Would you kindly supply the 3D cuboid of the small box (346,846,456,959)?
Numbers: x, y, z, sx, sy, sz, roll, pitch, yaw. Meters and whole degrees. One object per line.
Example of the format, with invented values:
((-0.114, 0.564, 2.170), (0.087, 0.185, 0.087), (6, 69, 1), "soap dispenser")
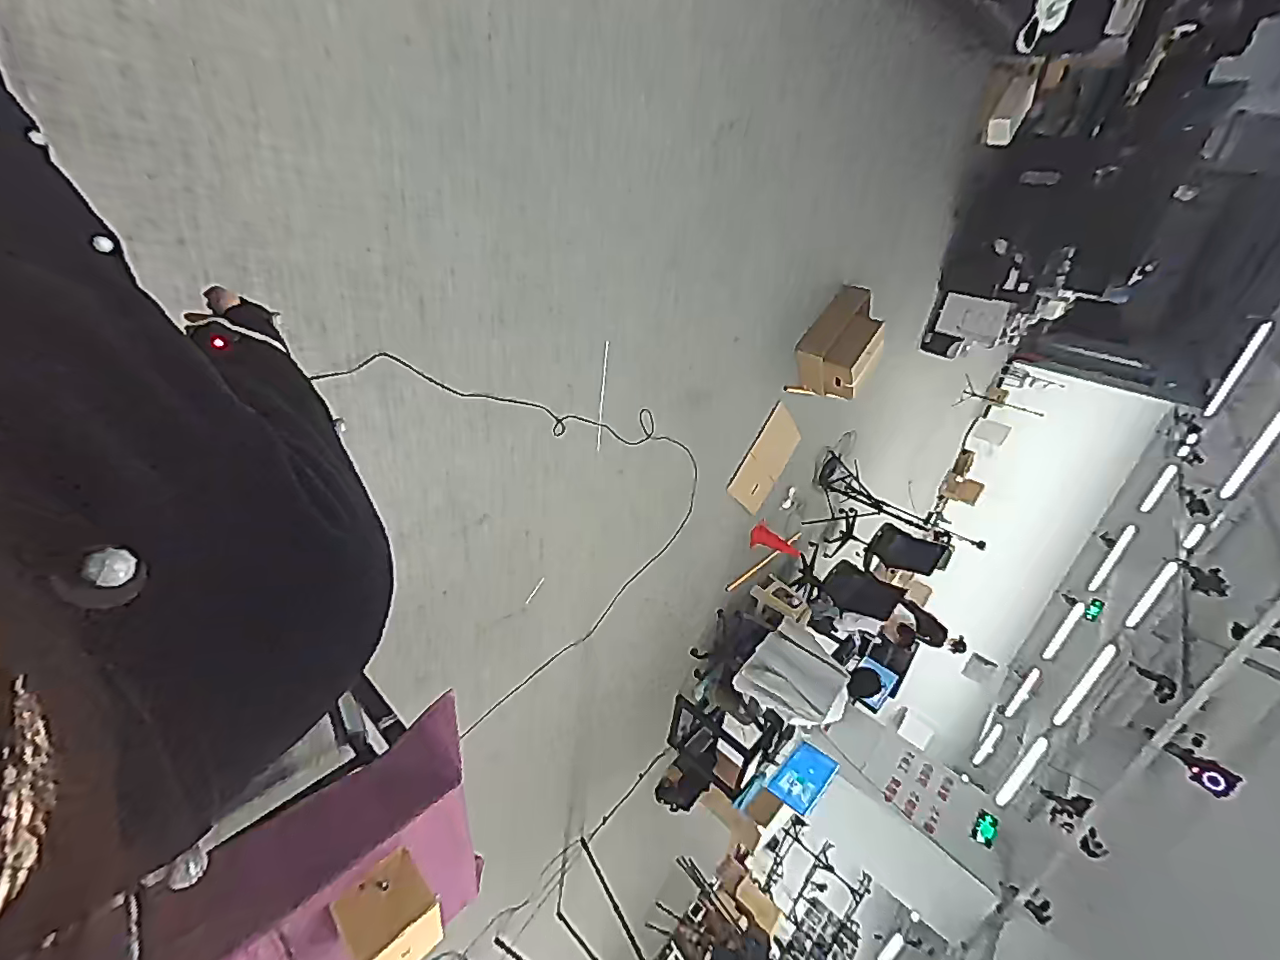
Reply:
((-0.542, 0.991, 1.233), (0.168, 0.176, 0.179), (-25, 131, -42), "small box")
